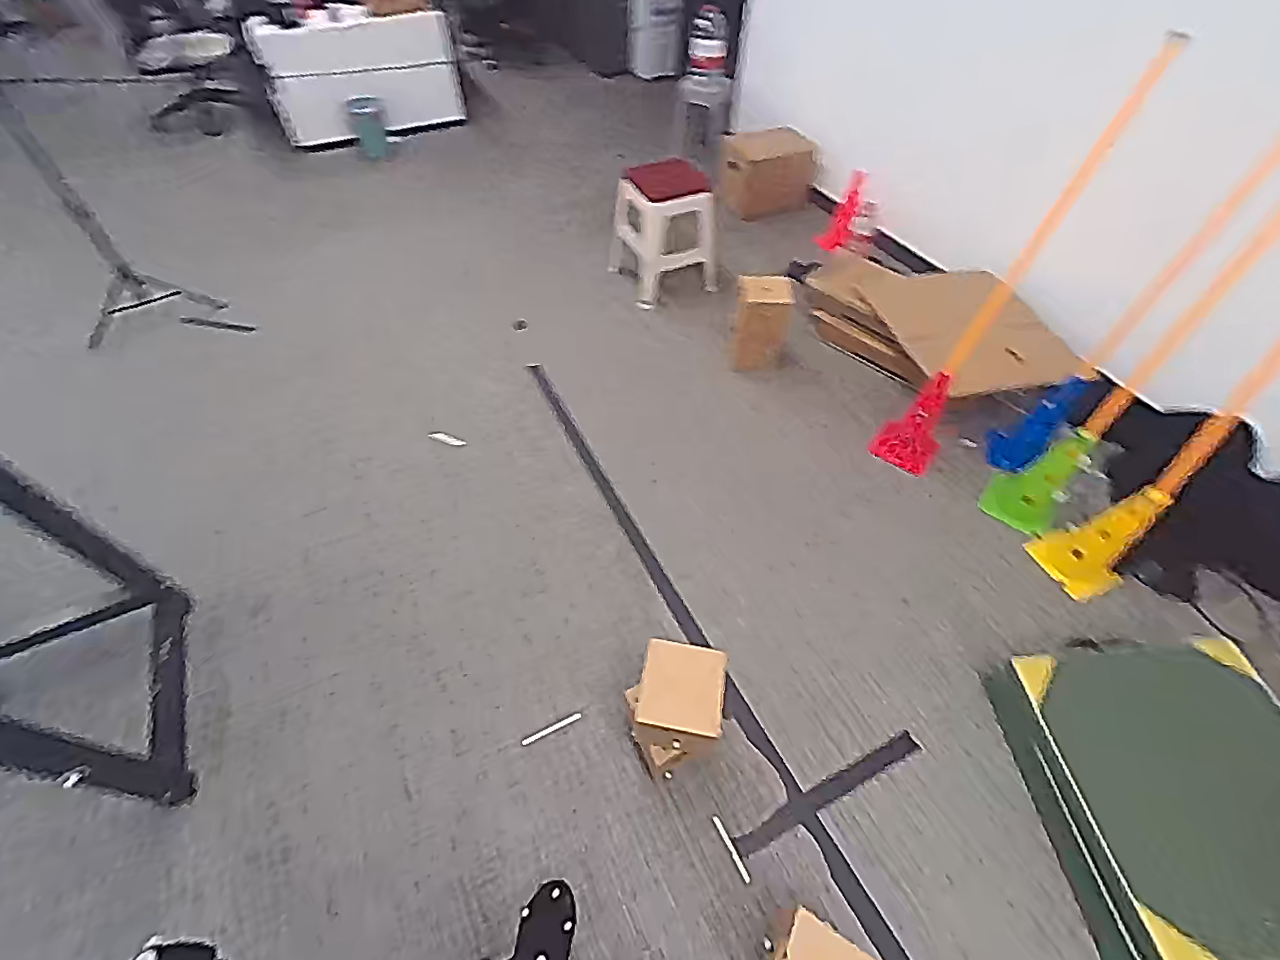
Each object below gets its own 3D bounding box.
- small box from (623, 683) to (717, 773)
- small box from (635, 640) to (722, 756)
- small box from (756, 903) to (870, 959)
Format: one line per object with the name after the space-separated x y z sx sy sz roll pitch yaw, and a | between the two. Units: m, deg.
0.068 0.582 1.305 0.168 0.176 0.179 -19 54 -16 | small box
0.082 0.475 1.177 0.168 0.176 0.179 9 51 5 | small box
0.322 0.949 1.026 0.179 0.176 0.168 28 58 19 | small box
